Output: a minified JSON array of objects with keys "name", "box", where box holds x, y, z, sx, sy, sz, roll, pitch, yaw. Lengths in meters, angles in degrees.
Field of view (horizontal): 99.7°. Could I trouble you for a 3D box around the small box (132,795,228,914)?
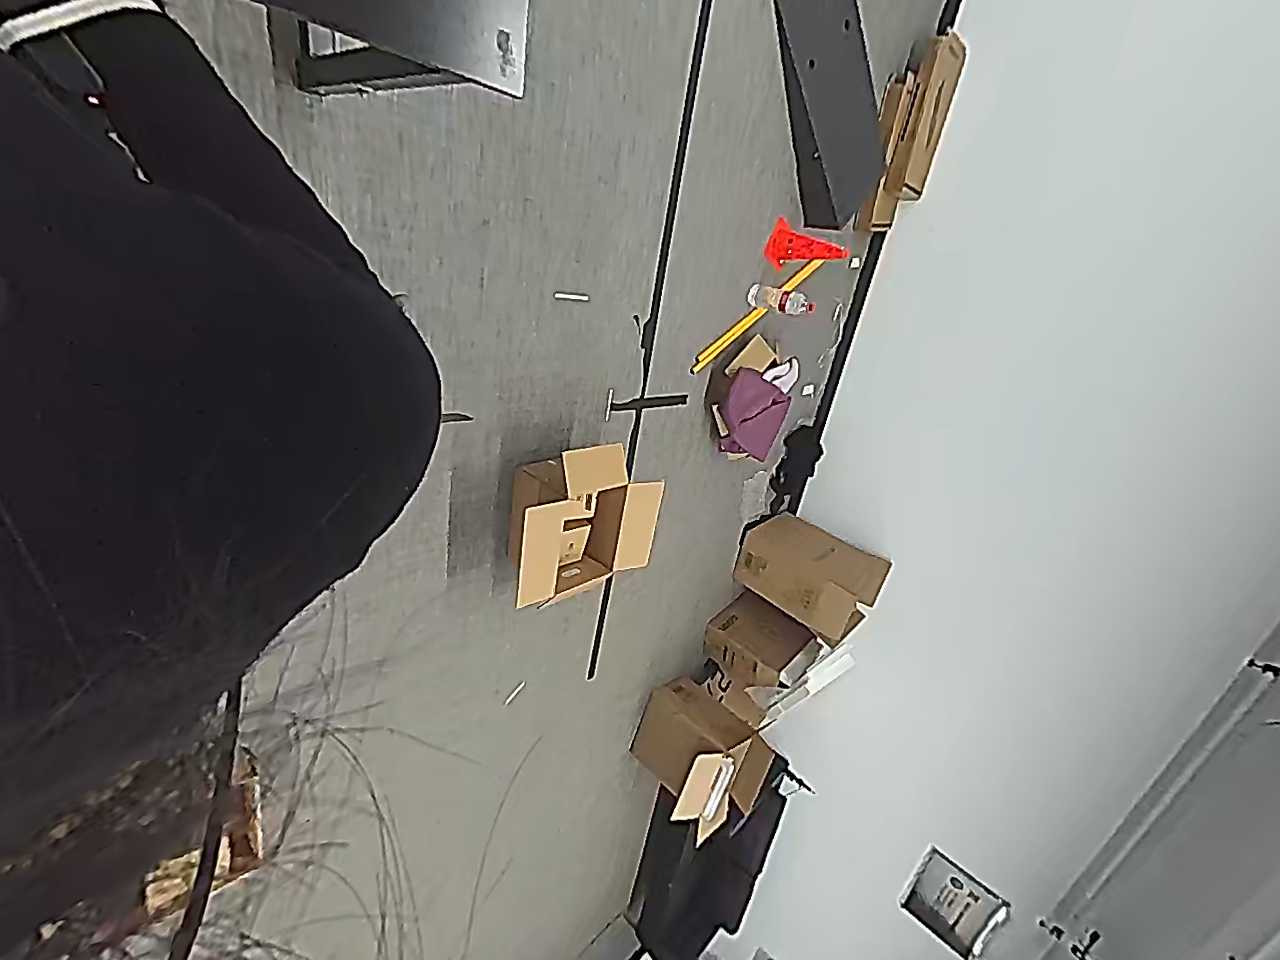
[{"name":"small box","box":[-1.277,1.027,1.503,0.179,0.176,0.168,-9,117,-47]}]
